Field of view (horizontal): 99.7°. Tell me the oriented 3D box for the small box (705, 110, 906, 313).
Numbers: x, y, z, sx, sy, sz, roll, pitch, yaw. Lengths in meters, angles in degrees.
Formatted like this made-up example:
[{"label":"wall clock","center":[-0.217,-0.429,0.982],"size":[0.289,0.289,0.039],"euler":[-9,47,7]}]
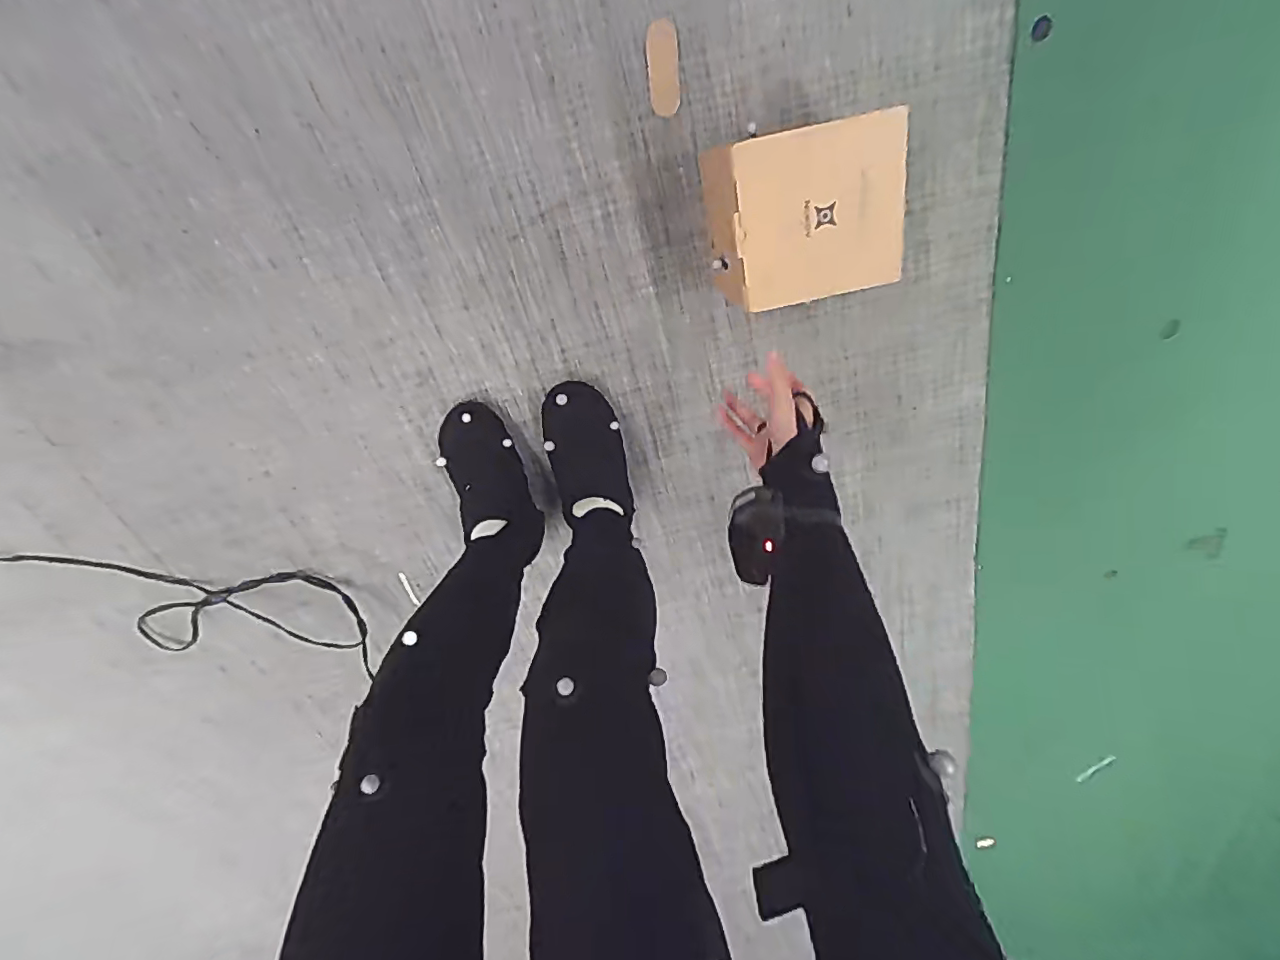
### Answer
[{"label":"small box","center":[0.176,-0.306,0.625],"size":[0.179,0.176,0.168],"euler":[-12,120,0]}]
